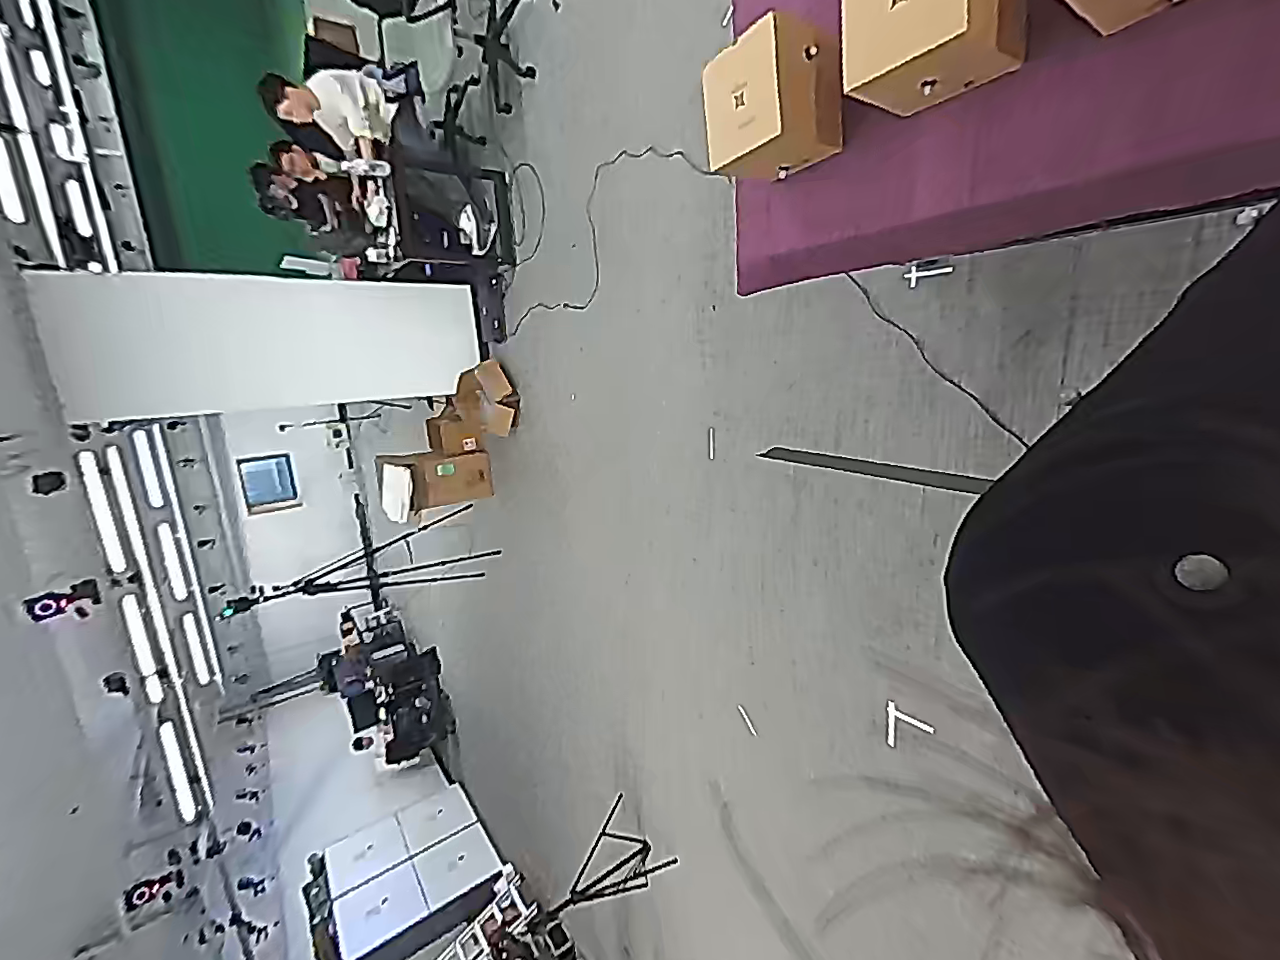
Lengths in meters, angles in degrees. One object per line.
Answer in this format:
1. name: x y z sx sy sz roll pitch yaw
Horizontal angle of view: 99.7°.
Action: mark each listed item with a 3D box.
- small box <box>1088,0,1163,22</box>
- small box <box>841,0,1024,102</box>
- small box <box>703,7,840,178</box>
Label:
1. small box: 0.534 -0.610 0.529 0.168 0.176 0.179 6 106 54
2. small box: 0.390 -0.638 0.722 0.168 0.176 0.179 11 110 53
3. small box: 0.230 -0.657 0.944 0.168 0.176 0.179 8 107 54
